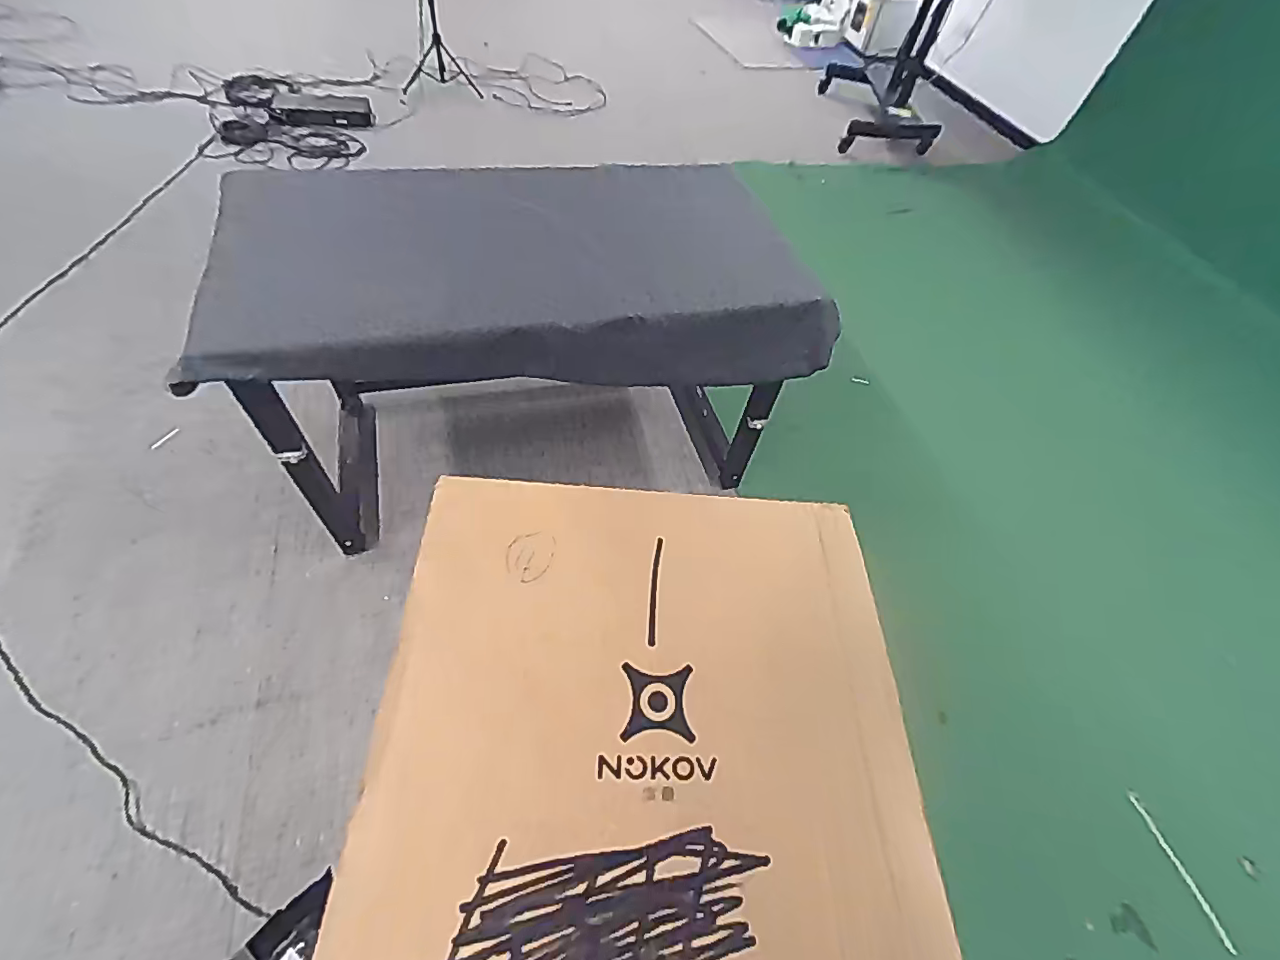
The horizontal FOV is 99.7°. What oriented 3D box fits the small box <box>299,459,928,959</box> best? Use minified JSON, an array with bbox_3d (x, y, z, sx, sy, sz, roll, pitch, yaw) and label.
[{"bbox_3d":[-0.011,0.113,0.242,0.168,0.176,0.179,4,55,-5],"label":"small box"}]
